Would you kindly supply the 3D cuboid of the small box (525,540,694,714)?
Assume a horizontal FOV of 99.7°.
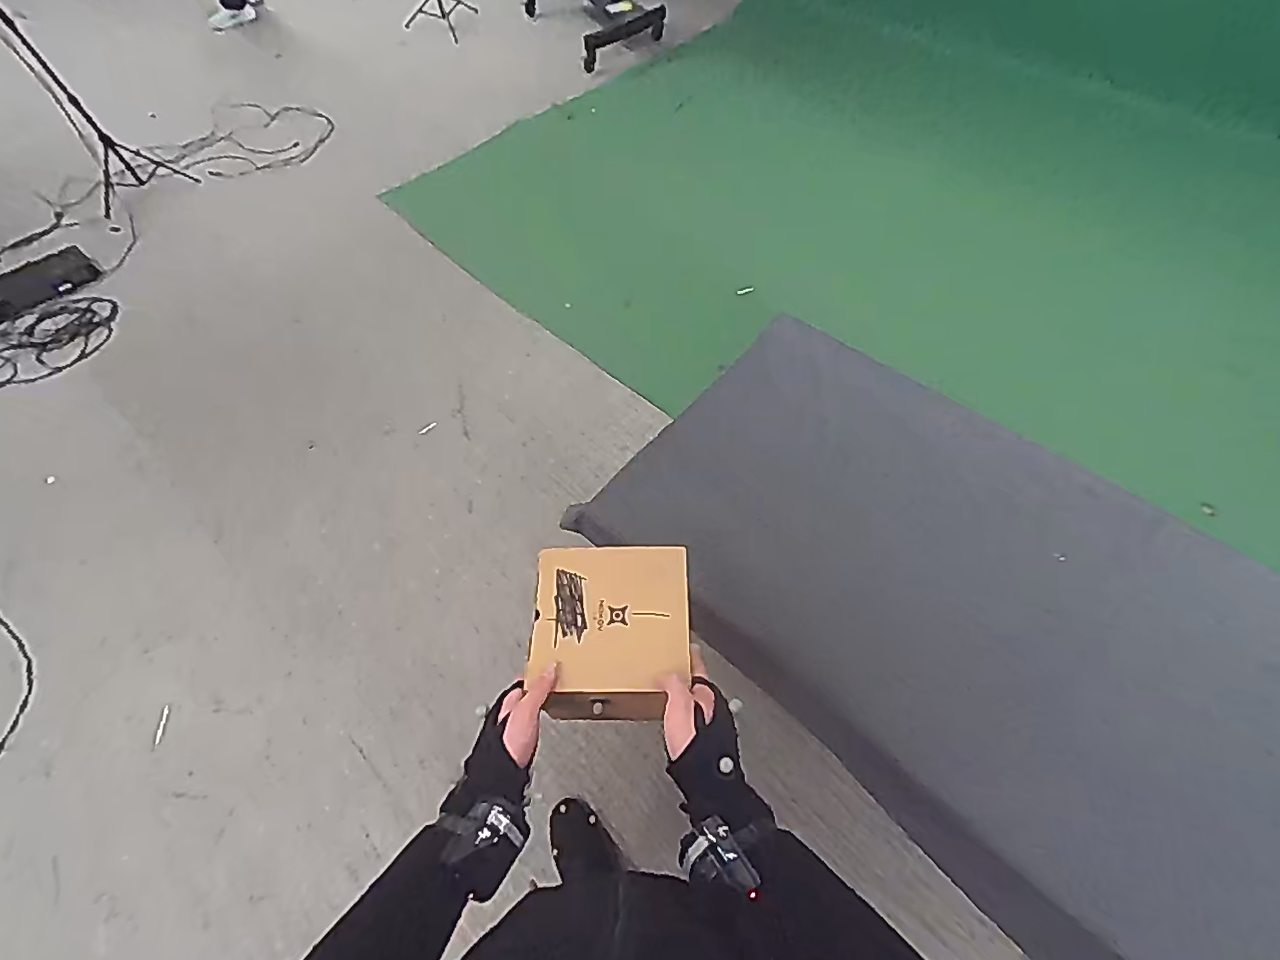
[{"bbox_3d":[-0.028,0.184,0.657,0.179,0.176,0.168,1,58,1],"label":"small box"}]
